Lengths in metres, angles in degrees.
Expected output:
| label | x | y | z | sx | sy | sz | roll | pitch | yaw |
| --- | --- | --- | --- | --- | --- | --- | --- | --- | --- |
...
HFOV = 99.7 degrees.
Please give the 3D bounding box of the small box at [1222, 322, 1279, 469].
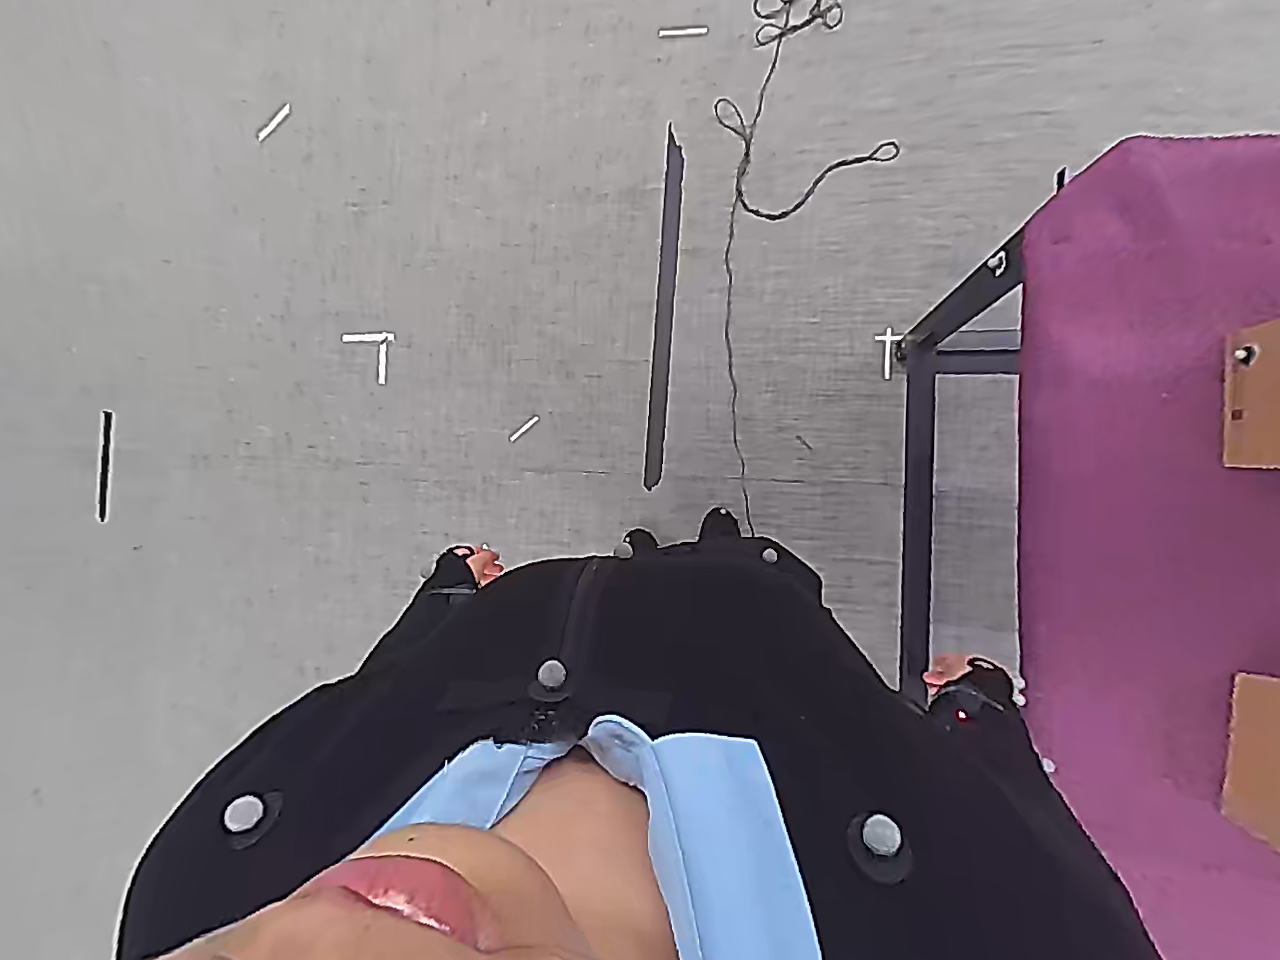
| label | x | y | z | sx | sy | sz | roll | pitch | yaw |
| --- | --- | --- | --- | --- | --- | --- | --- | --- | --- |
| small box | 0.793 | -0.096 | 0.580 | 0.179 | 0.176 | 0.168 | 3 | 89 | 8 |
